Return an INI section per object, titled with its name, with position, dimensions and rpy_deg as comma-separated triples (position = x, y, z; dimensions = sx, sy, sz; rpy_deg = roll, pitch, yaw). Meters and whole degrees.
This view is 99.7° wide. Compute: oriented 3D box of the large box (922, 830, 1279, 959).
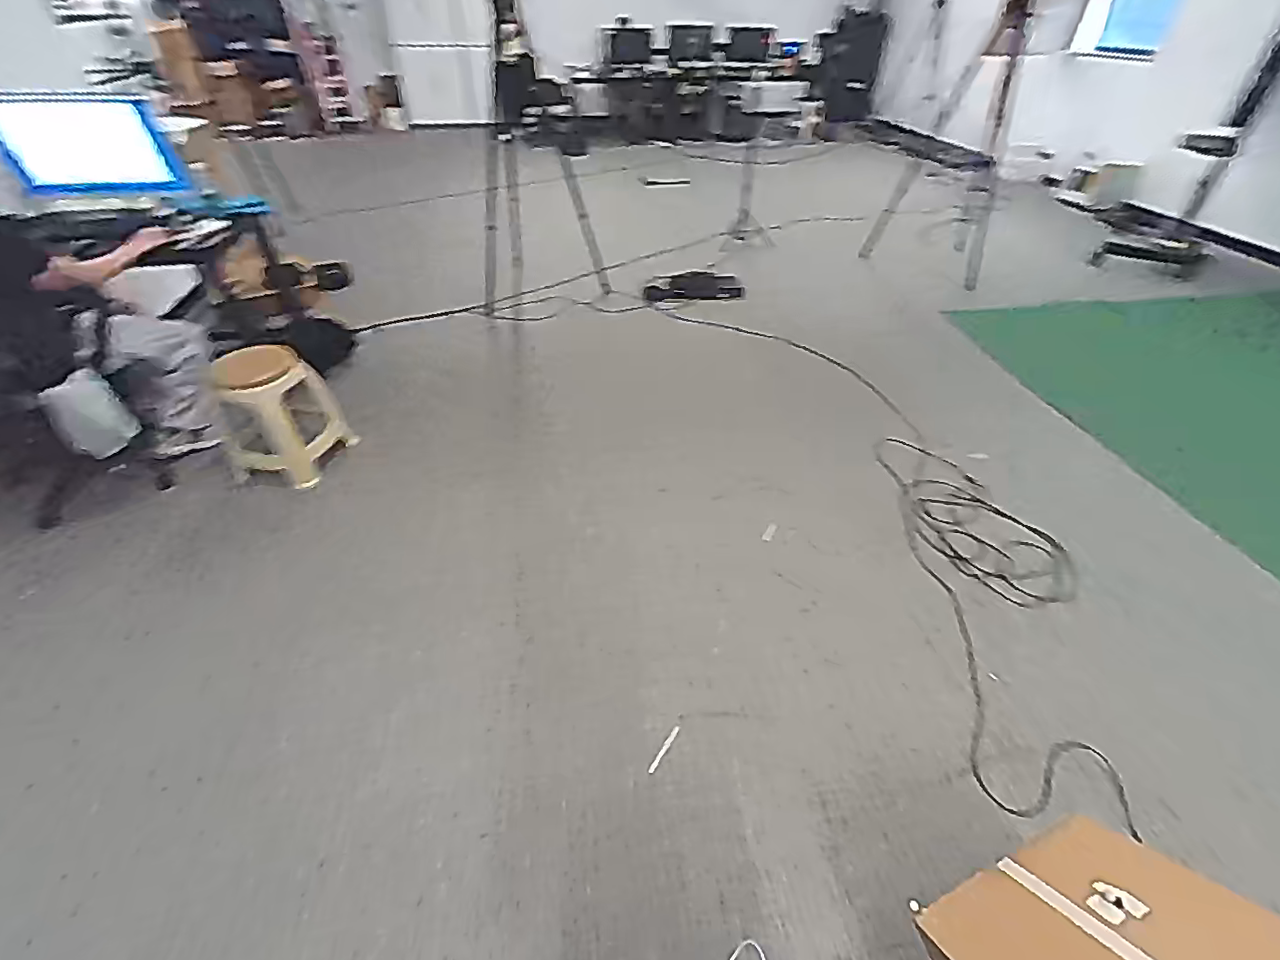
[large box]
position = 0.619, 0.692, 0.583
dimensions = 0.320, 0.408, 0.320
rpy_deg = -21, 85, -9
